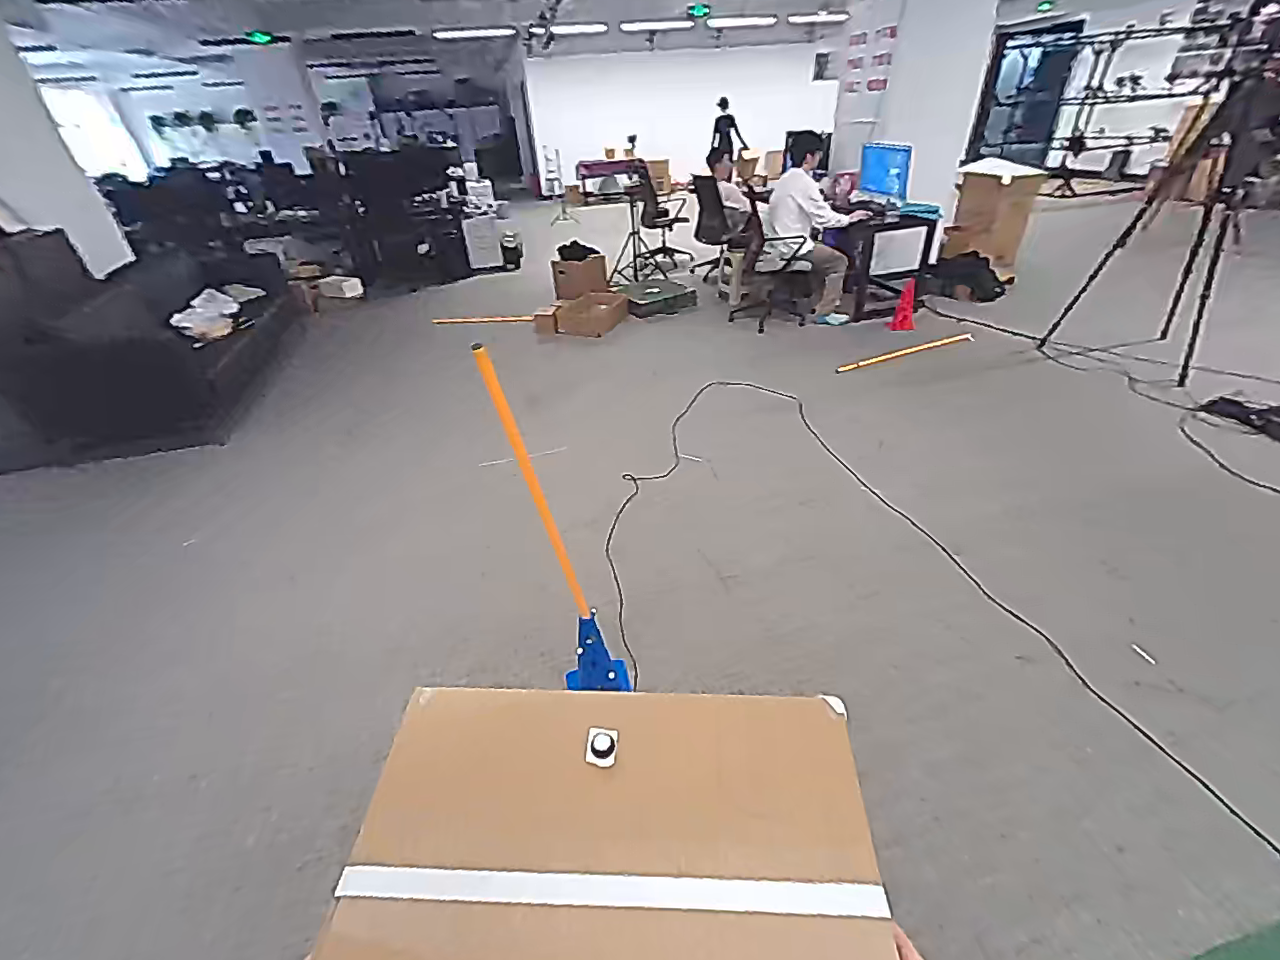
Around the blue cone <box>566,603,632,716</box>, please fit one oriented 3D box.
[{"bbox_3d":[-0.147,0.518,1.629,0.193,0.380,0.192,-14,36,-11],"label":"blue cone"}]
